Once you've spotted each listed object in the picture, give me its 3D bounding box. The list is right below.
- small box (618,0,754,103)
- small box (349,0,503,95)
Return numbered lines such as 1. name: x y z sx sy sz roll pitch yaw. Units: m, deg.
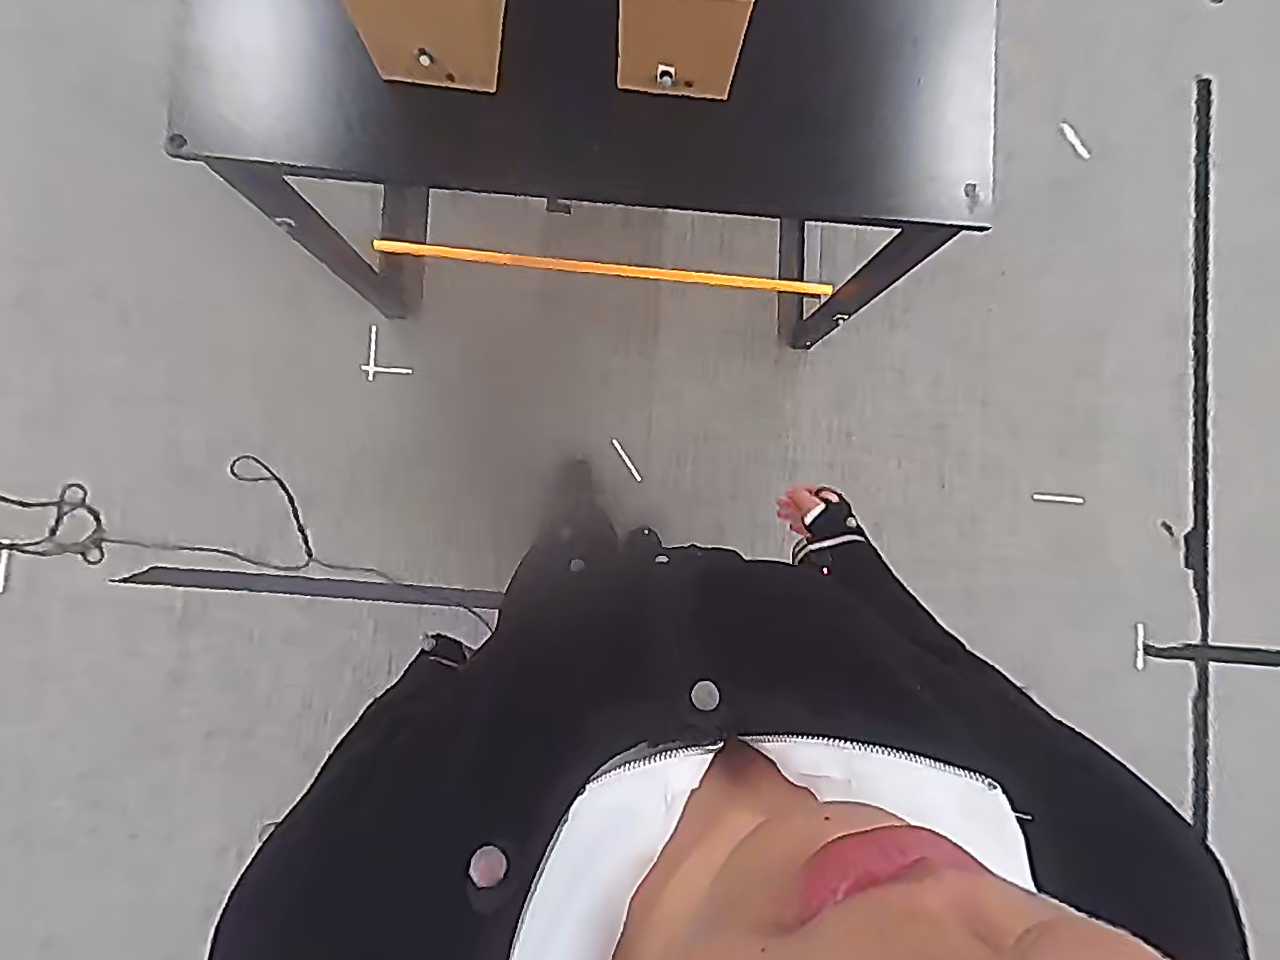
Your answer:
1. small box: 0.056 -0.662 0.733 0.168 0.176 0.179 2 88 -2
2. small box: -0.280 -0.659 0.708 0.168 0.176 0.179 5 87 -3
